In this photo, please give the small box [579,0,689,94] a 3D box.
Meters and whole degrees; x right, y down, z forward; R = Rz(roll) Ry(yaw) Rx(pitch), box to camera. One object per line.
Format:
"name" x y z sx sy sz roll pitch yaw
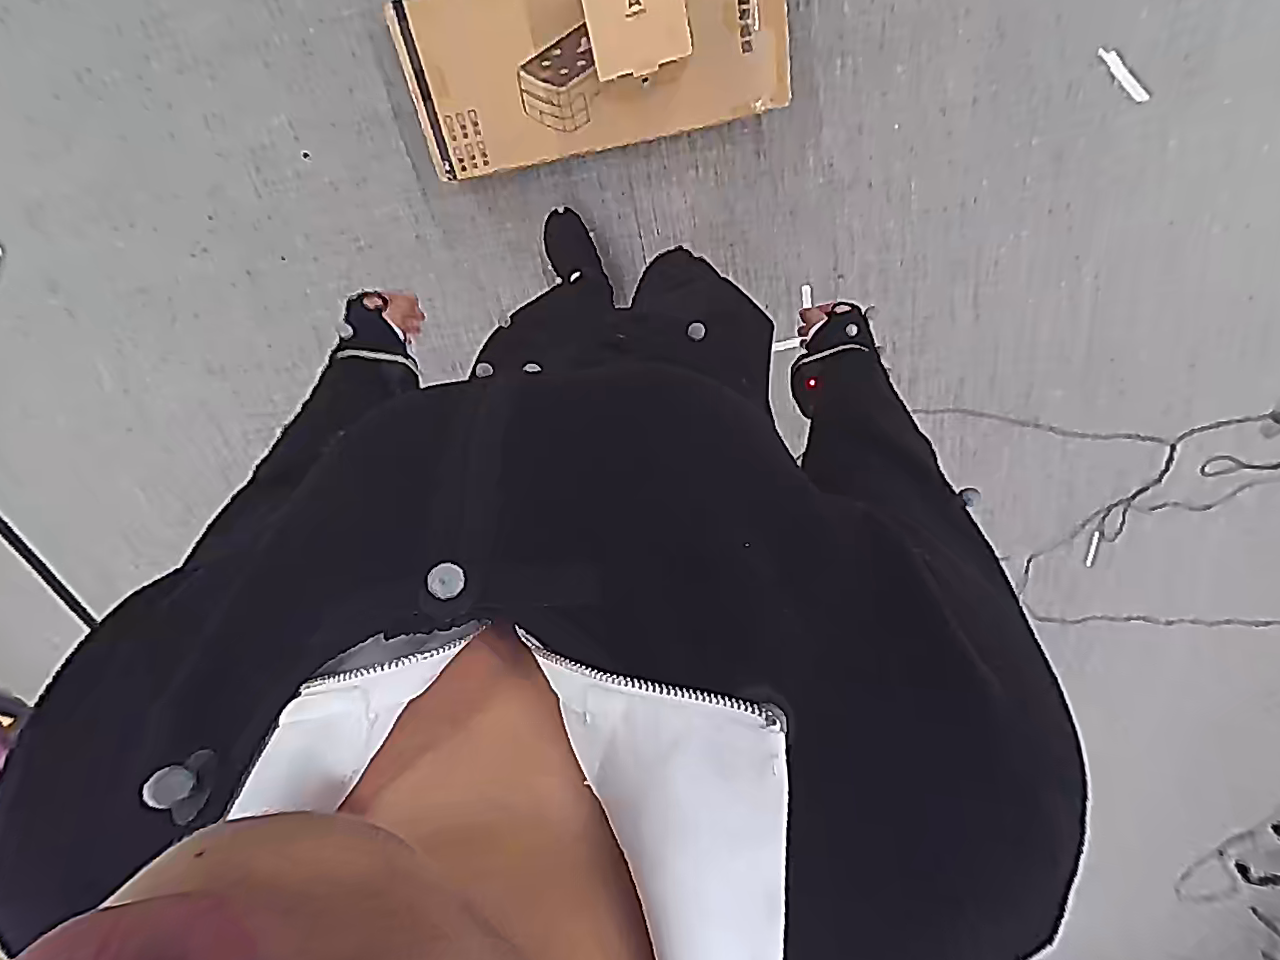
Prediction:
"small box" -0.014 -0.806 0.953 0.168 0.176 0.179 -12 119 5
